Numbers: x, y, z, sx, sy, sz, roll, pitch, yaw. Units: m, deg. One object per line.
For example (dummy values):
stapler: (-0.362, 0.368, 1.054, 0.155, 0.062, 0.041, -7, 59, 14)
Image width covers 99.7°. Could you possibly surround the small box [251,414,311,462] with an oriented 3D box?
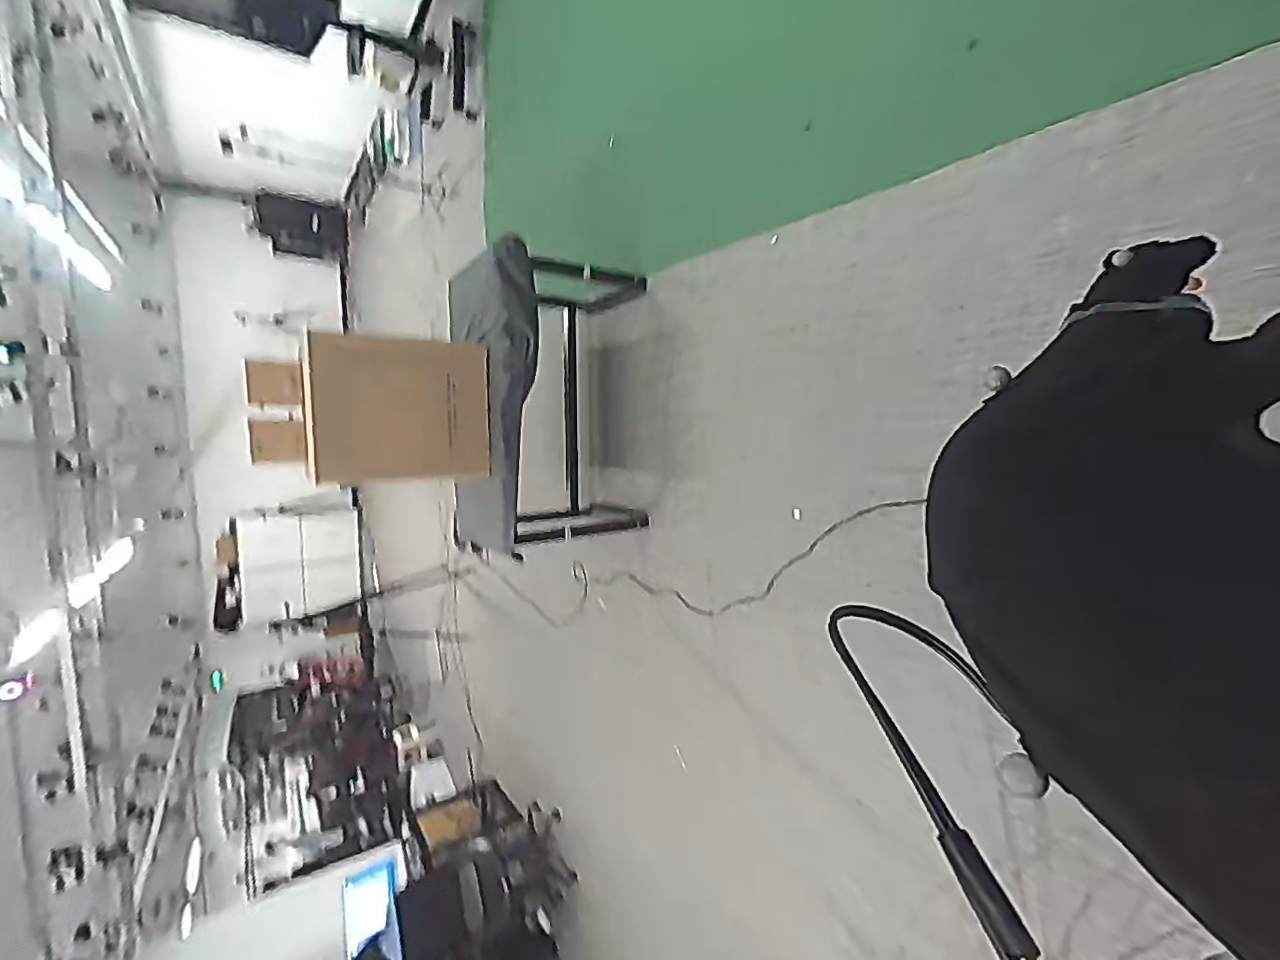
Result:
small box: (-1.295, -0.154, 1.958, 0.179, 0.176, 0.168, 9, 102, 56)
